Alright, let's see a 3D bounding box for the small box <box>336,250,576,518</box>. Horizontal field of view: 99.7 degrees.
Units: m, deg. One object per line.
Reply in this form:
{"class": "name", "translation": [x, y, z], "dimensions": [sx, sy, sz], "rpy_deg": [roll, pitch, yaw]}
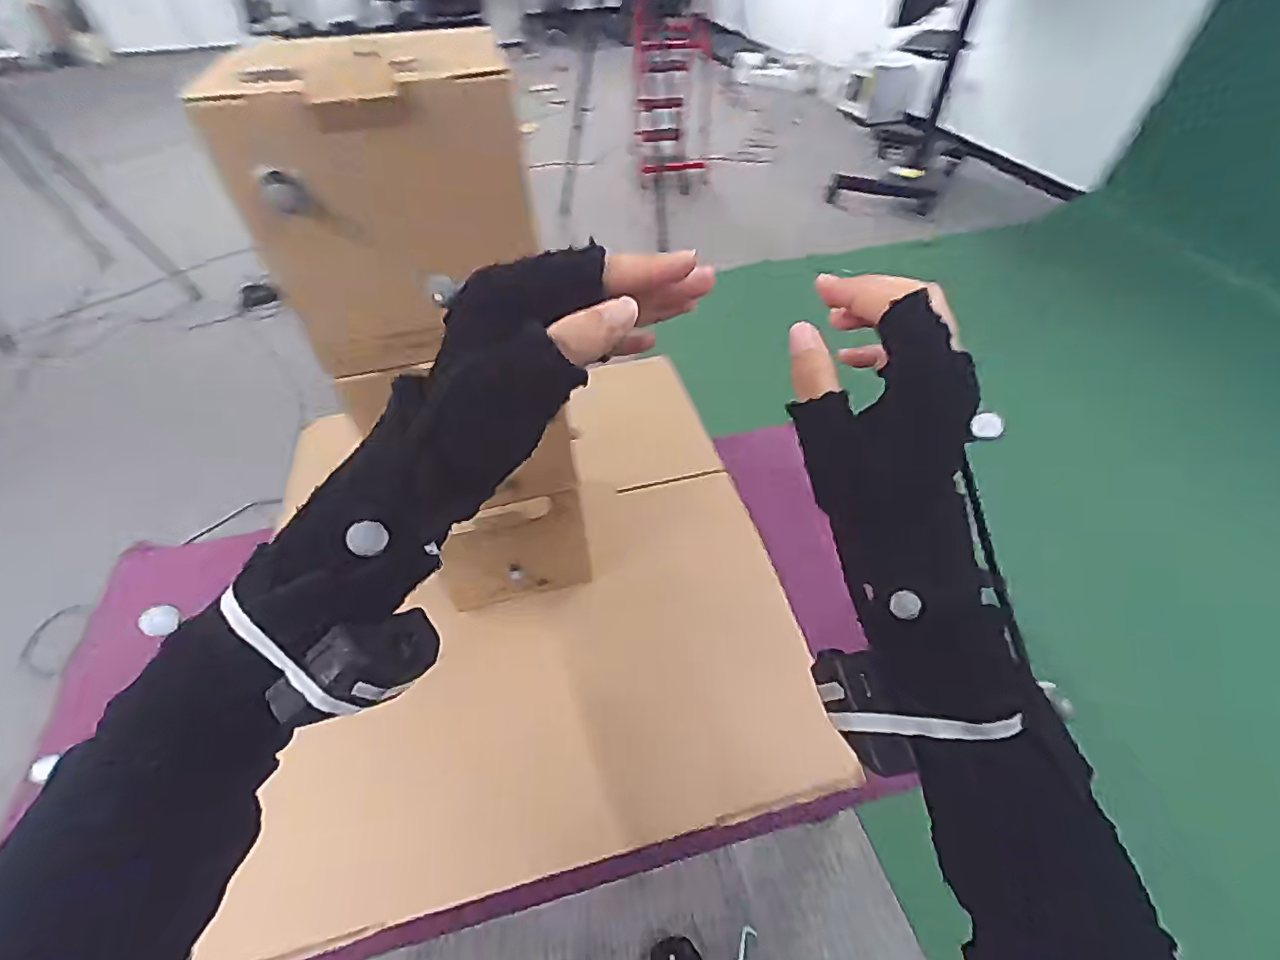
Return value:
{"class": "small box", "translation": [-0.161, -0.092, 0.513], "dimensions": [0.168, 0.176, 0.179], "rpy_deg": [-13, 49, -11]}

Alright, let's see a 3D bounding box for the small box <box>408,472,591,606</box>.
{"class": "small box", "translation": [-0.157, 0.018, 0.633], "dimensions": [0.168, 0.176, 0.179], "rpy_deg": [-12, 48, -9]}
